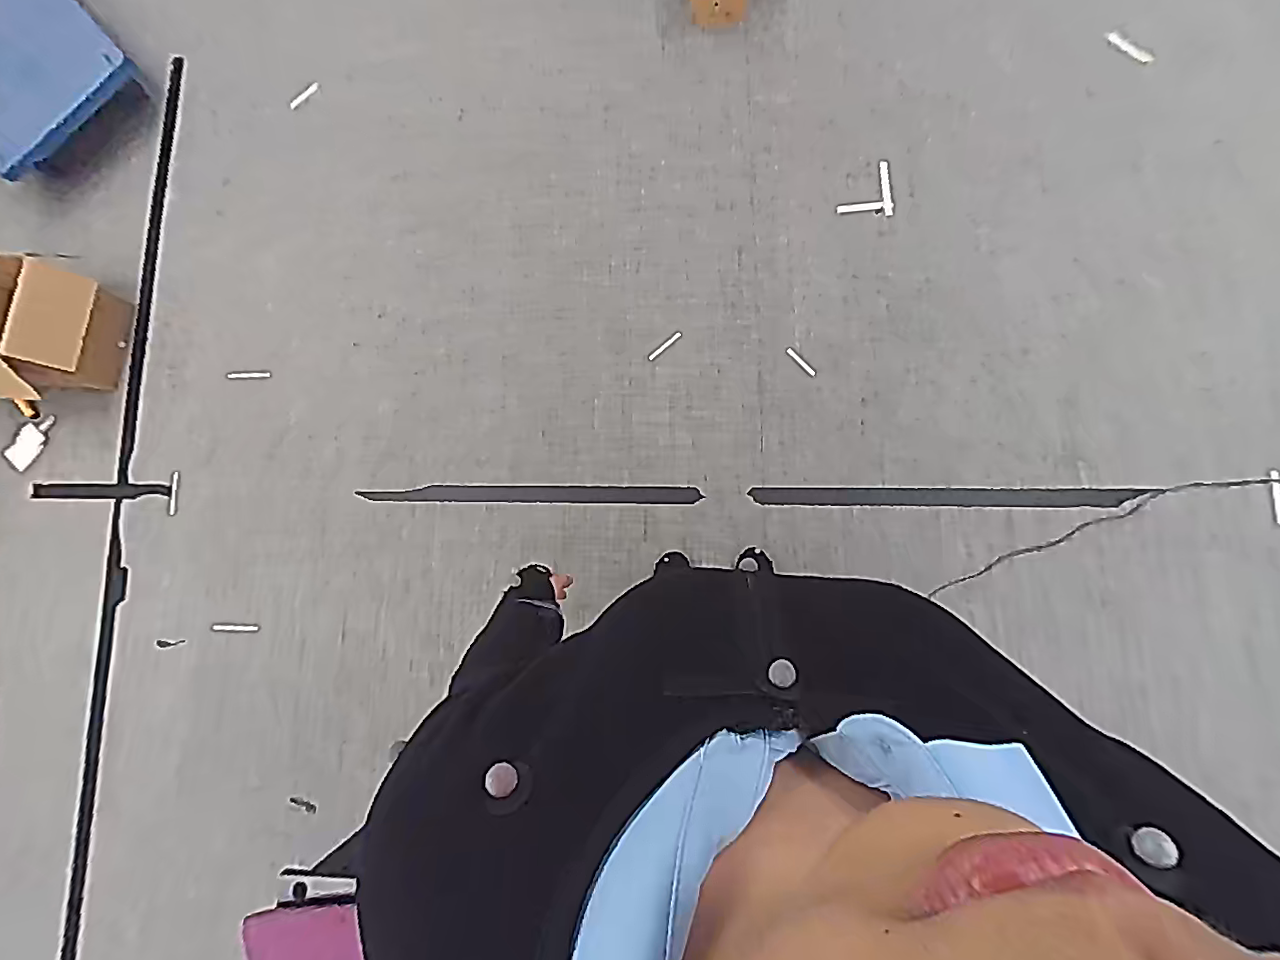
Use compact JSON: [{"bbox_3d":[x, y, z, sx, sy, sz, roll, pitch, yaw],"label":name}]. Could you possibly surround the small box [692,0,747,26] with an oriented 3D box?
[{"bbox_3d":[0.240,-1.559,1.661,0.168,0.176,0.179,-6,82,6],"label":"small box"}]
